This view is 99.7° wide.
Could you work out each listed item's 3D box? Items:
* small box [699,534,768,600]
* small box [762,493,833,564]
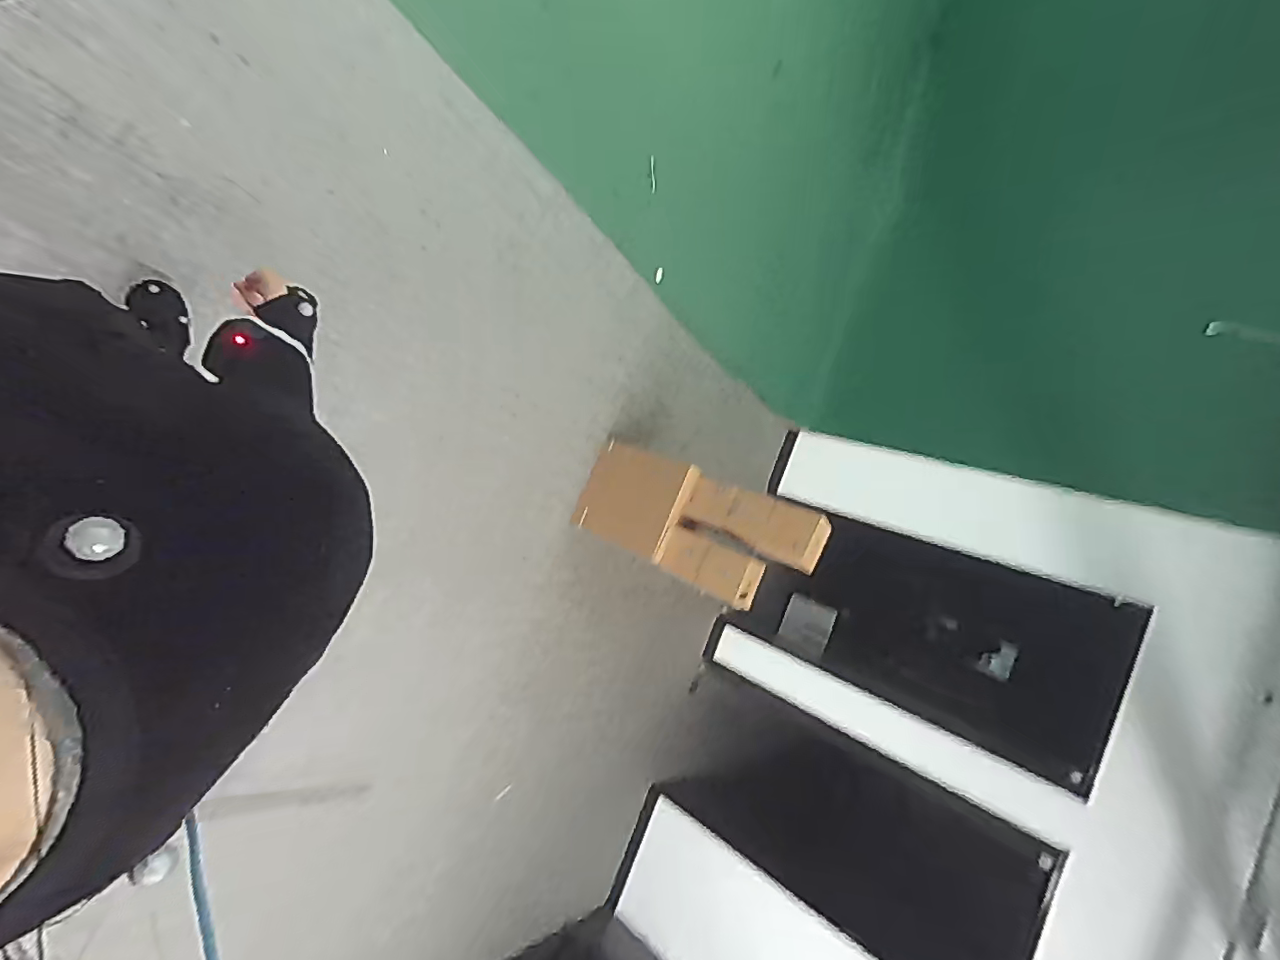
[{"bbox_3d":[0.338,0.319,1.981,0.168,0.176,0.179,29,82,-53],"label":"small box"},{"bbox_3d":[0.558,0.168,1.916,0.168,0.176,0.179,39,77,-52],"label":"small box"}]
